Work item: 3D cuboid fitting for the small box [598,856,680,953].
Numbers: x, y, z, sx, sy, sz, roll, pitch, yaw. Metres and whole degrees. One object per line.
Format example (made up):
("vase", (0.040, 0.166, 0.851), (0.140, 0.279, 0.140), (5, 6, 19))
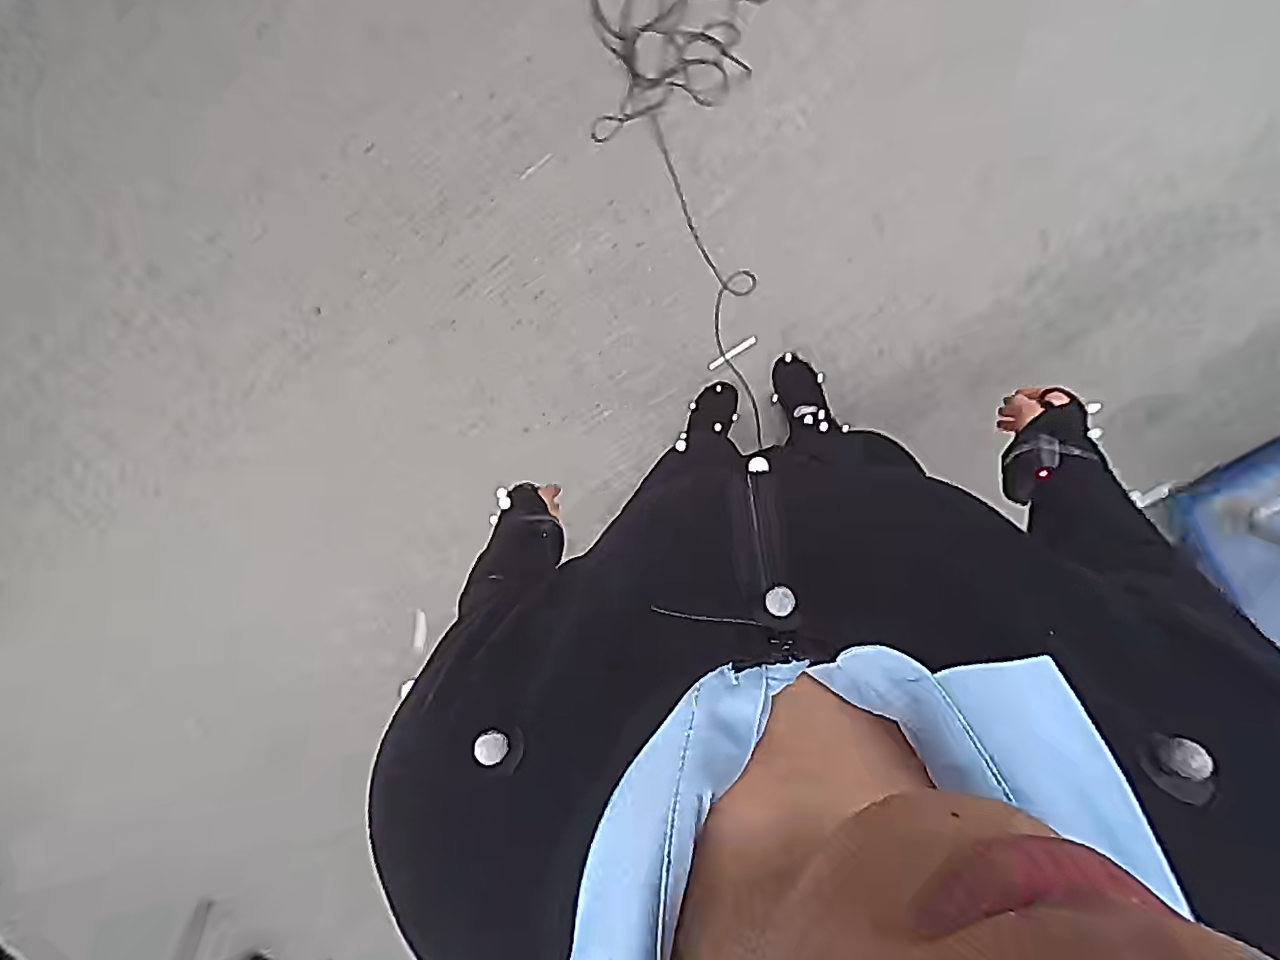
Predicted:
("small box", (0.005, 1.266, 1.599), (0.179, 0.176, 0.168), (-28, 99, 14))

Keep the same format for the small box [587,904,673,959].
("small box", (-0.028, 1.294, 1.442), (0.179, 0.176, 0.168), (-40, 95, 16))
